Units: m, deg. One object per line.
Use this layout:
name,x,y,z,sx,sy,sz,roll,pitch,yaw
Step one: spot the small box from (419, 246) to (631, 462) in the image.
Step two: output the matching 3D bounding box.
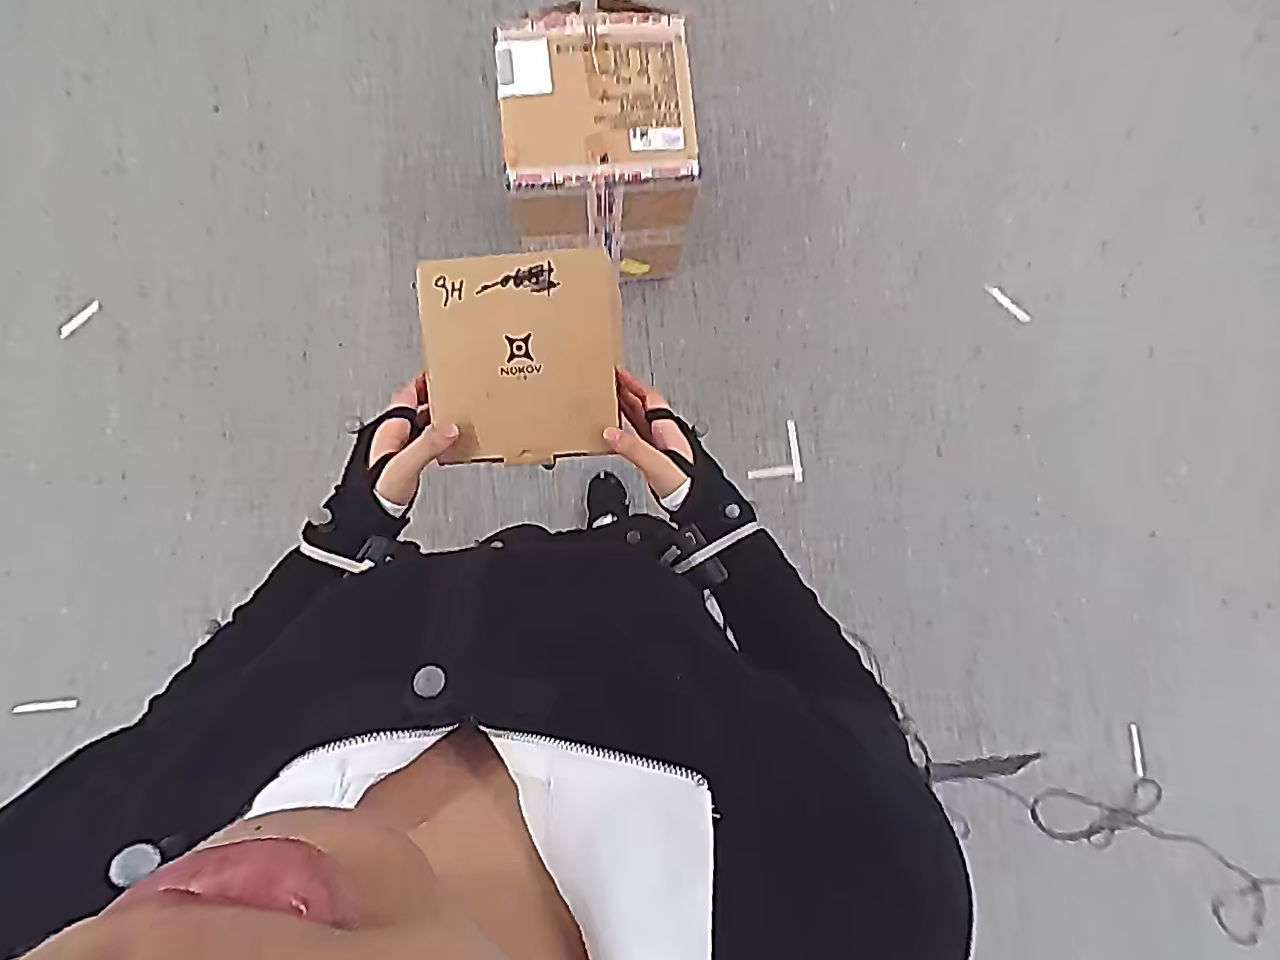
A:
small box,-0.099,-0.117,0.545,0.168,0.176,0.179,-4,97,2
